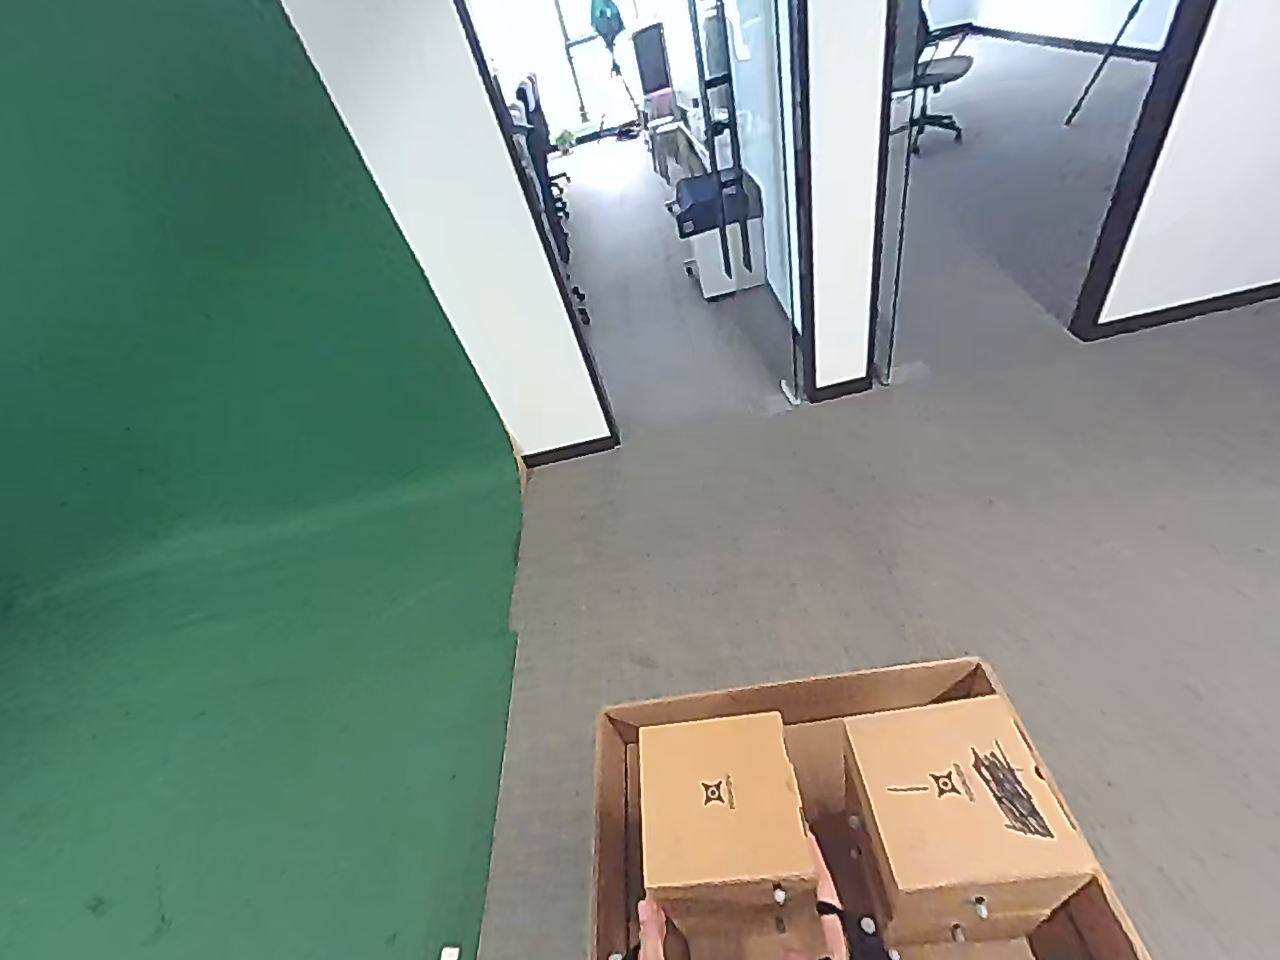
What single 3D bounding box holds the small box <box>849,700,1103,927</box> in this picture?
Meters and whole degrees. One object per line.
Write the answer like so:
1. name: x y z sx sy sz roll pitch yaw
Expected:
1. small box: 0.340 0.367 0.592 0.179 0.176 0.168 -13 40 9
